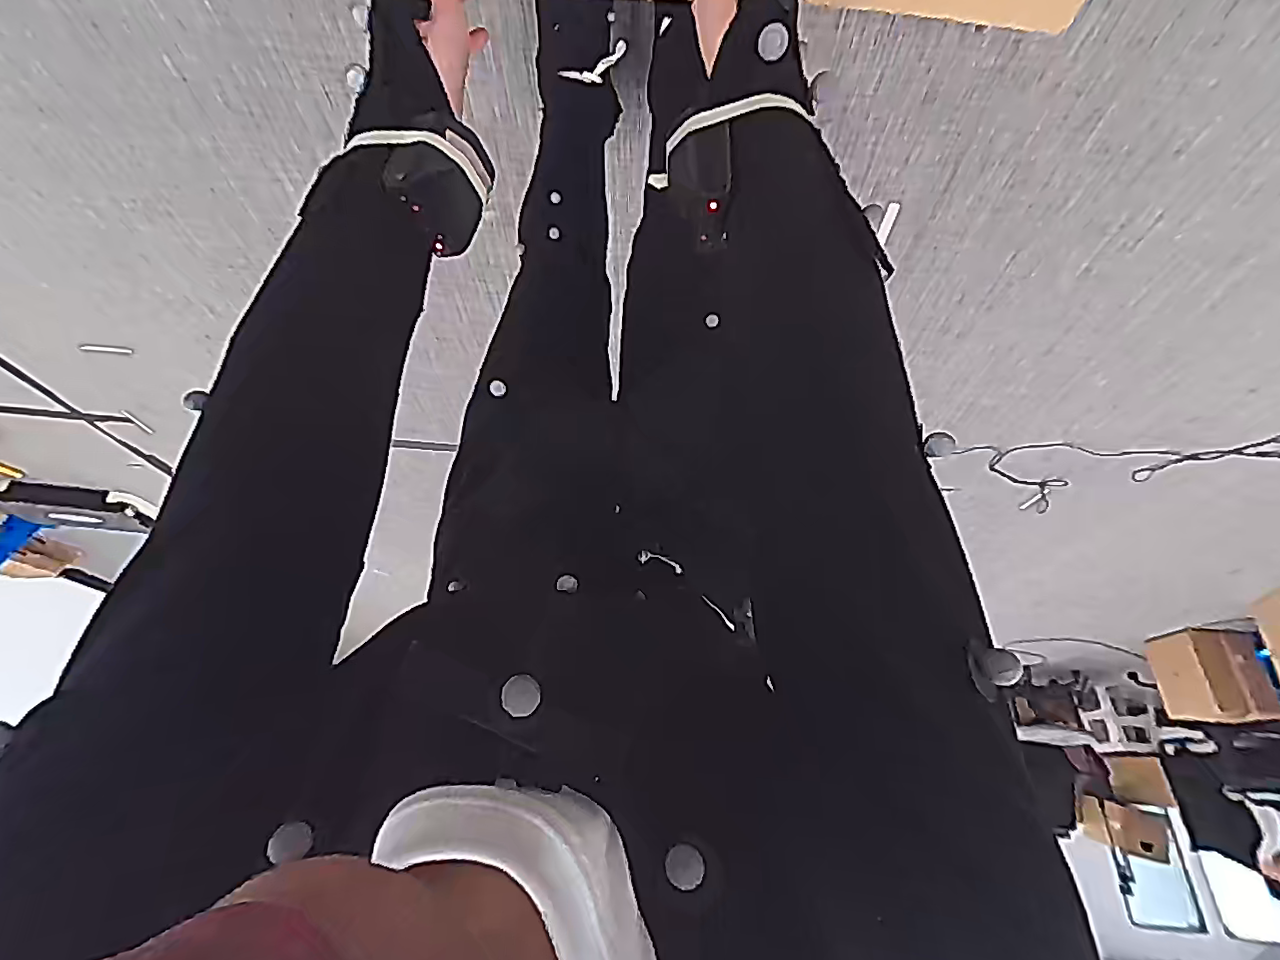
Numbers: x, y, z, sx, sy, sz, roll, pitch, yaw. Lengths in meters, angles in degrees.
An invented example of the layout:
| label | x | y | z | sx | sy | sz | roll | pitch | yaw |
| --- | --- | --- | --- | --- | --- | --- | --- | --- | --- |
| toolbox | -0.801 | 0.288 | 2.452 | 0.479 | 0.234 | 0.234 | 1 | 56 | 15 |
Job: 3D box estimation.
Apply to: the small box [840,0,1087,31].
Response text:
| label | x | y | z | sx | sy | sz | roll | pitch | yaw |
| --- | --- | --- | --- | --- | --- | --- | --- | --- | --- |
| small box | 0.202 | -0.408 | 0.317 | 0.179 | 0.176 | 0.168 | 6 | 150 | -1 |
